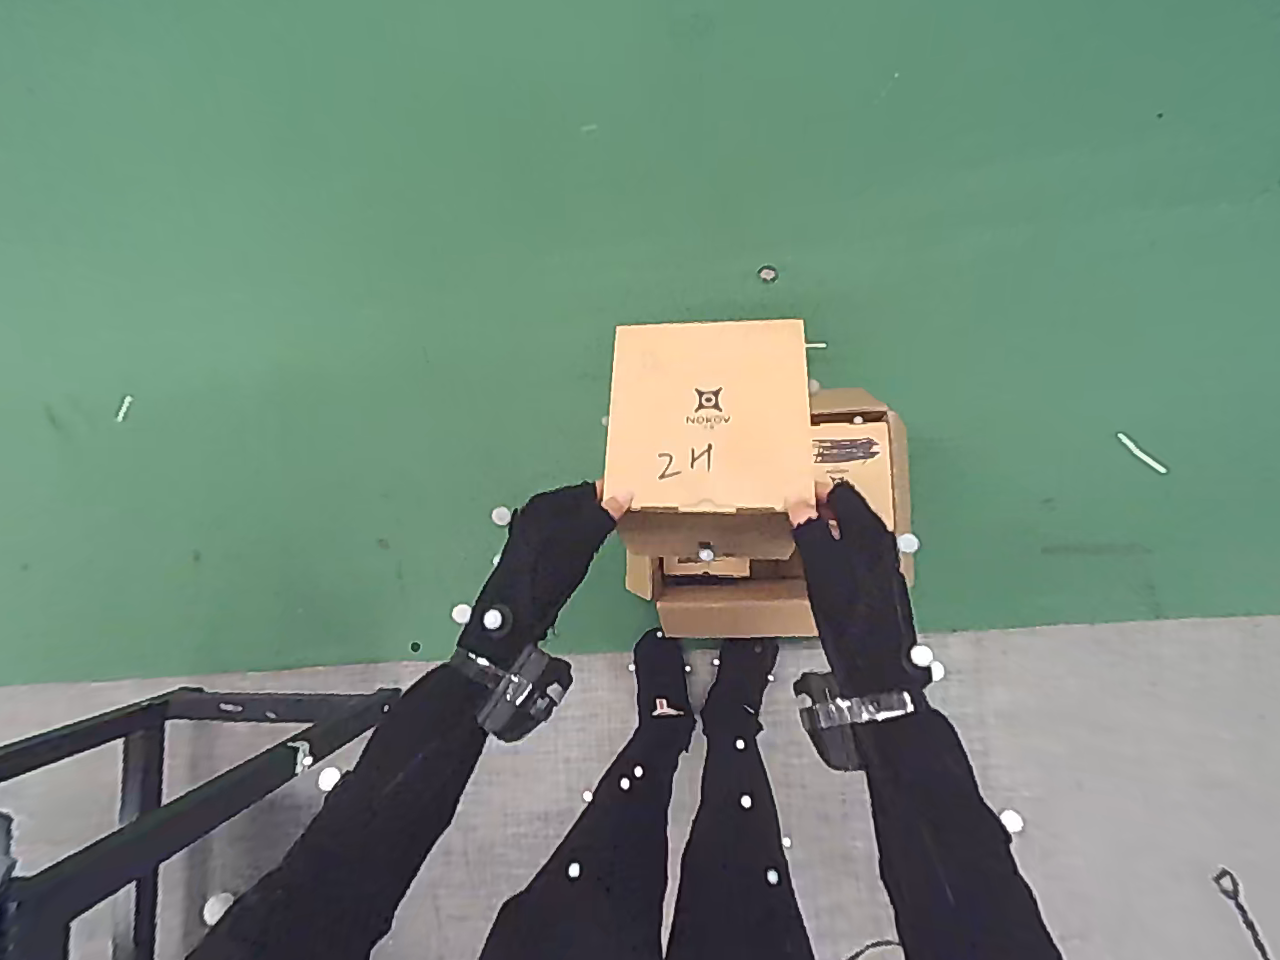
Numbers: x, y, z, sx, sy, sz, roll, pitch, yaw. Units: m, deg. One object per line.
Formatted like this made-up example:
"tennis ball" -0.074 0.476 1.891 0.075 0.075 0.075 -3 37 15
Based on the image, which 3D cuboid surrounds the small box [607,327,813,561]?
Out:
"small box" 0.068 -0.027 0.531 0.168 0.176 0.179 0 69 8
